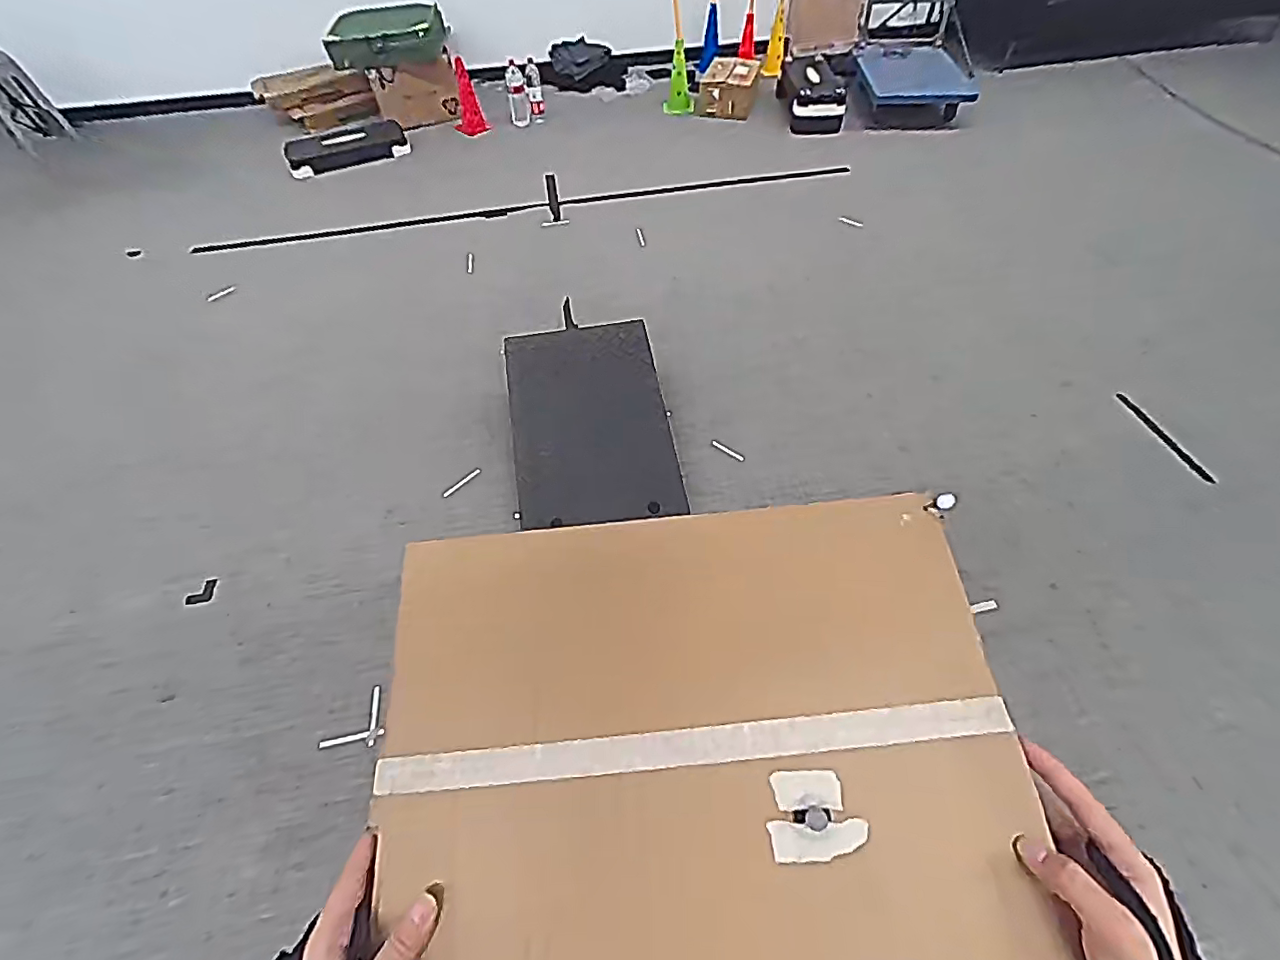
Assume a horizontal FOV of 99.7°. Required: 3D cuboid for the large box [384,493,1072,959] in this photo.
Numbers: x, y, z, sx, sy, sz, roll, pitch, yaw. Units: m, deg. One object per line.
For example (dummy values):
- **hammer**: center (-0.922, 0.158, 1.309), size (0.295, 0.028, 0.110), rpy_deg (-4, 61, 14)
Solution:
- **large box**: center (0.040, 0.231, 0.498), size (0.408, 0.320, 0.320), rpy_deg (-6, 66, 0)
